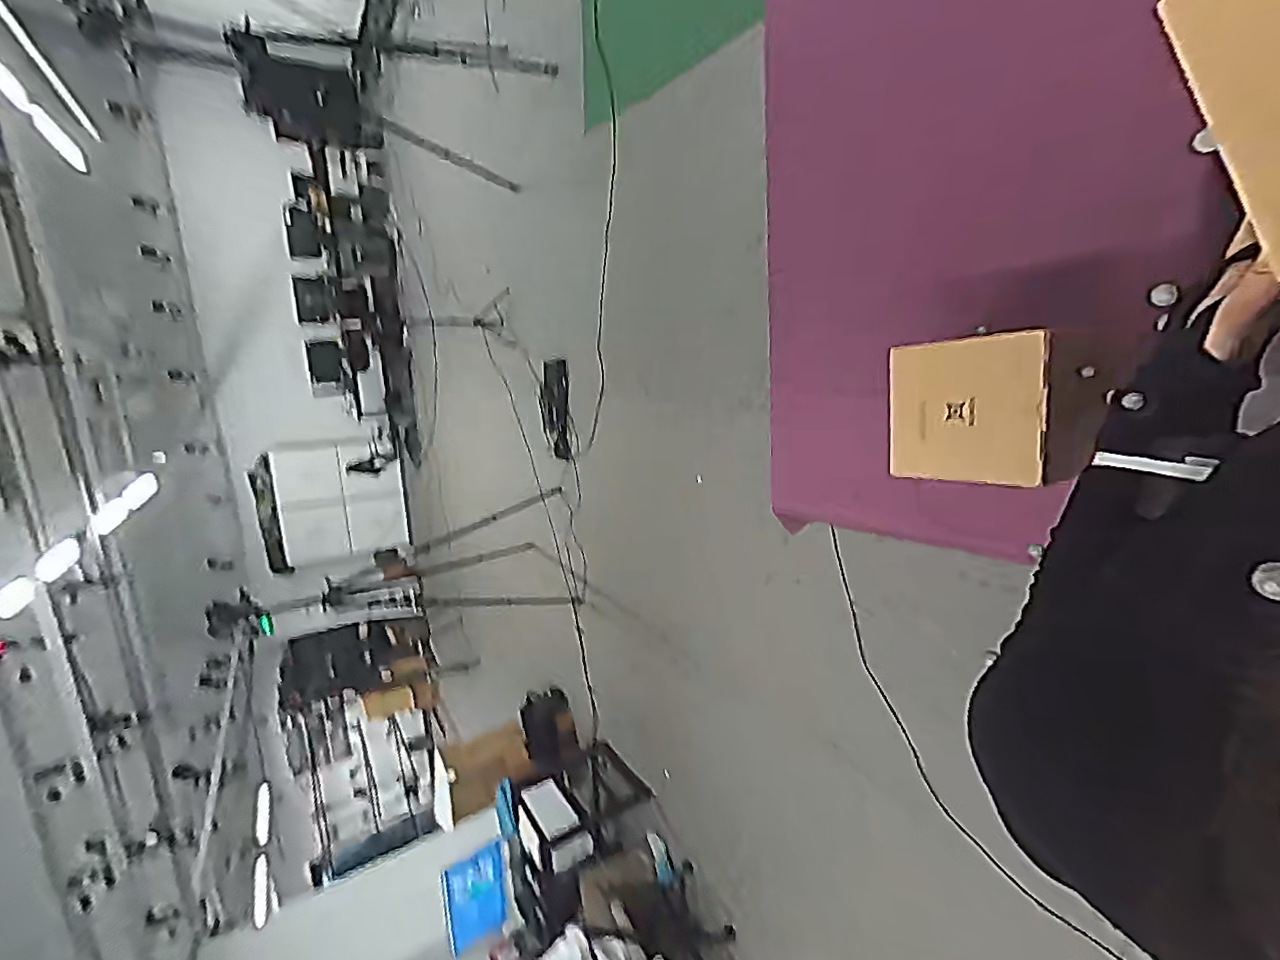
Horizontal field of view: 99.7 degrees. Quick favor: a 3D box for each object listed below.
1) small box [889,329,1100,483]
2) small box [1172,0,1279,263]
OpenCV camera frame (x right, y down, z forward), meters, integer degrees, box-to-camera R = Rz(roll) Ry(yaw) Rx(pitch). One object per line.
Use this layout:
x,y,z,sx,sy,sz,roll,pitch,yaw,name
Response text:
0.442,-0.096,0.680,0.179,0.176,0.168,9,105,57,small box
0.413,-0.216,0.255,0.179,0.176,0.168,-23,81,55,small box
